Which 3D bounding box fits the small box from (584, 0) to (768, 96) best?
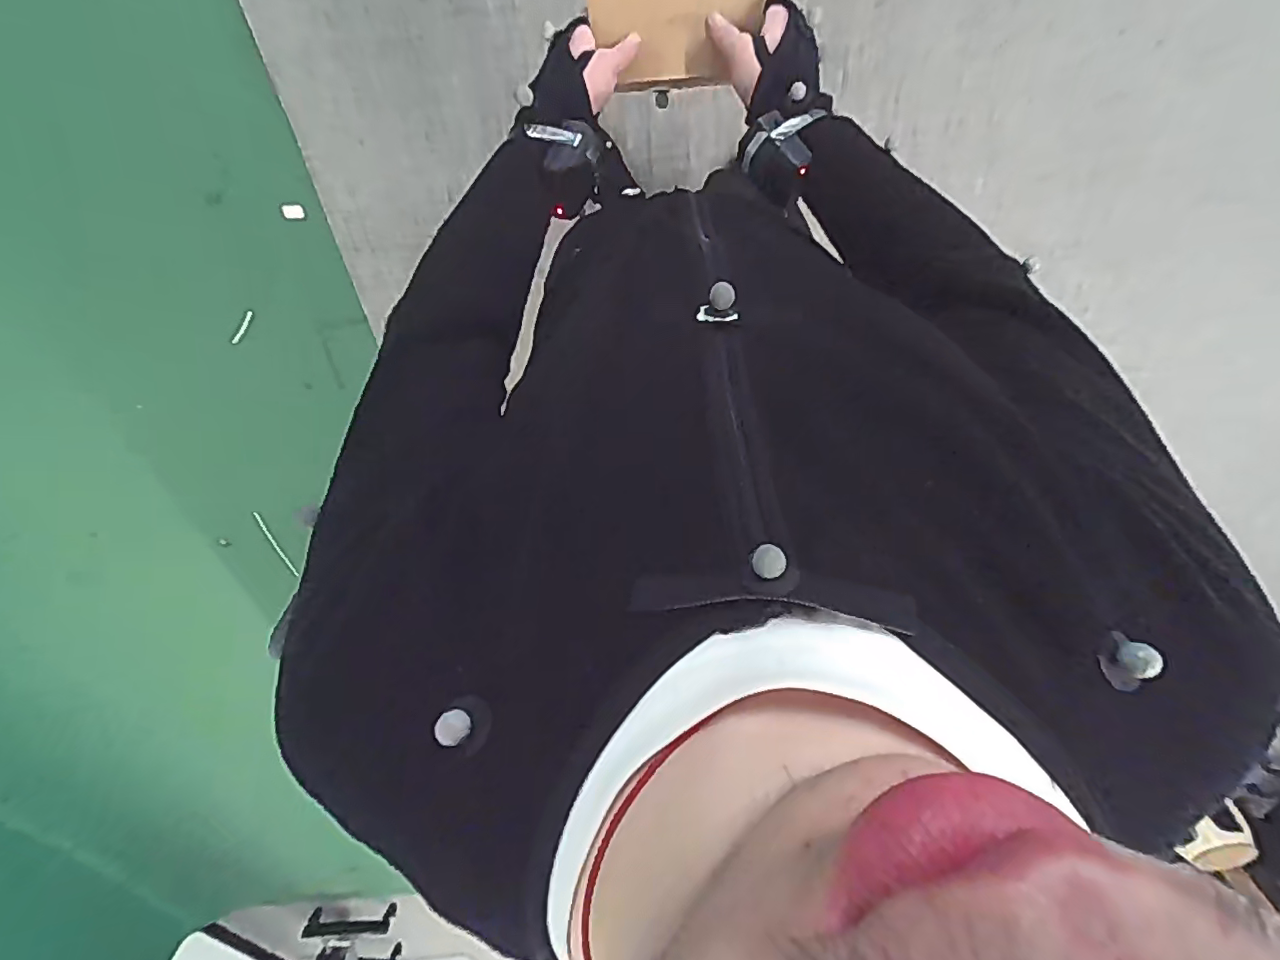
[{"bbox_3d":[0.031,-0.488,0.526,0.168,0.176,0.179,-1,123,2],"label":"small box"}]
